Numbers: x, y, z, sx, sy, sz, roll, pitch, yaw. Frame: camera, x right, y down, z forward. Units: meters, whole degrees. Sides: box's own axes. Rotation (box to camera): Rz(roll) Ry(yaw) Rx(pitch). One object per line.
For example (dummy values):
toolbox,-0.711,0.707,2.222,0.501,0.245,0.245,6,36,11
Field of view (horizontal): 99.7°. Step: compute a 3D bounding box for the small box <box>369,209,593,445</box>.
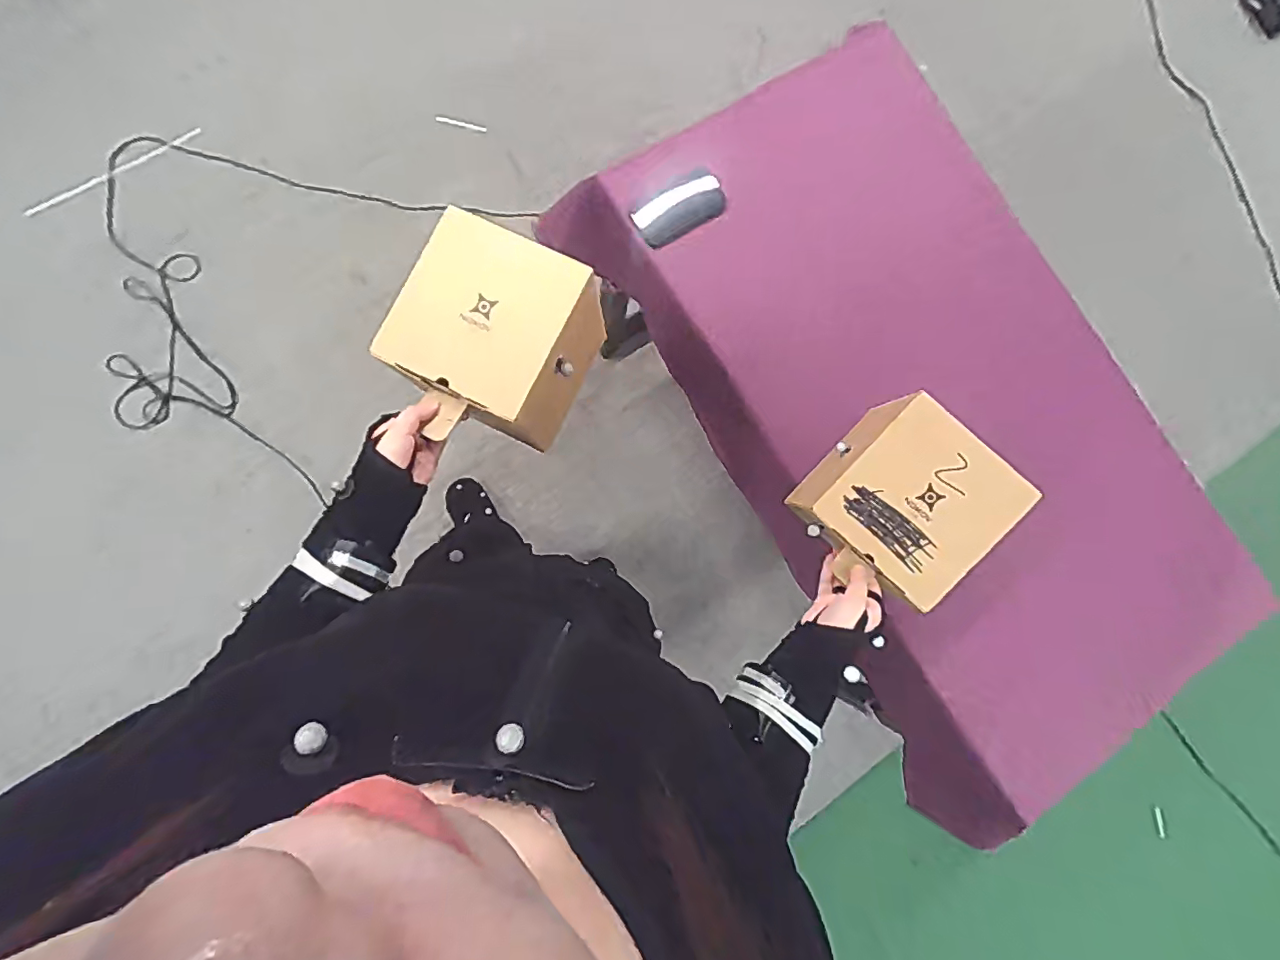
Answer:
small box,-0.163,-0.159,0.622,0.168,0.176,0.179,25,85,3
